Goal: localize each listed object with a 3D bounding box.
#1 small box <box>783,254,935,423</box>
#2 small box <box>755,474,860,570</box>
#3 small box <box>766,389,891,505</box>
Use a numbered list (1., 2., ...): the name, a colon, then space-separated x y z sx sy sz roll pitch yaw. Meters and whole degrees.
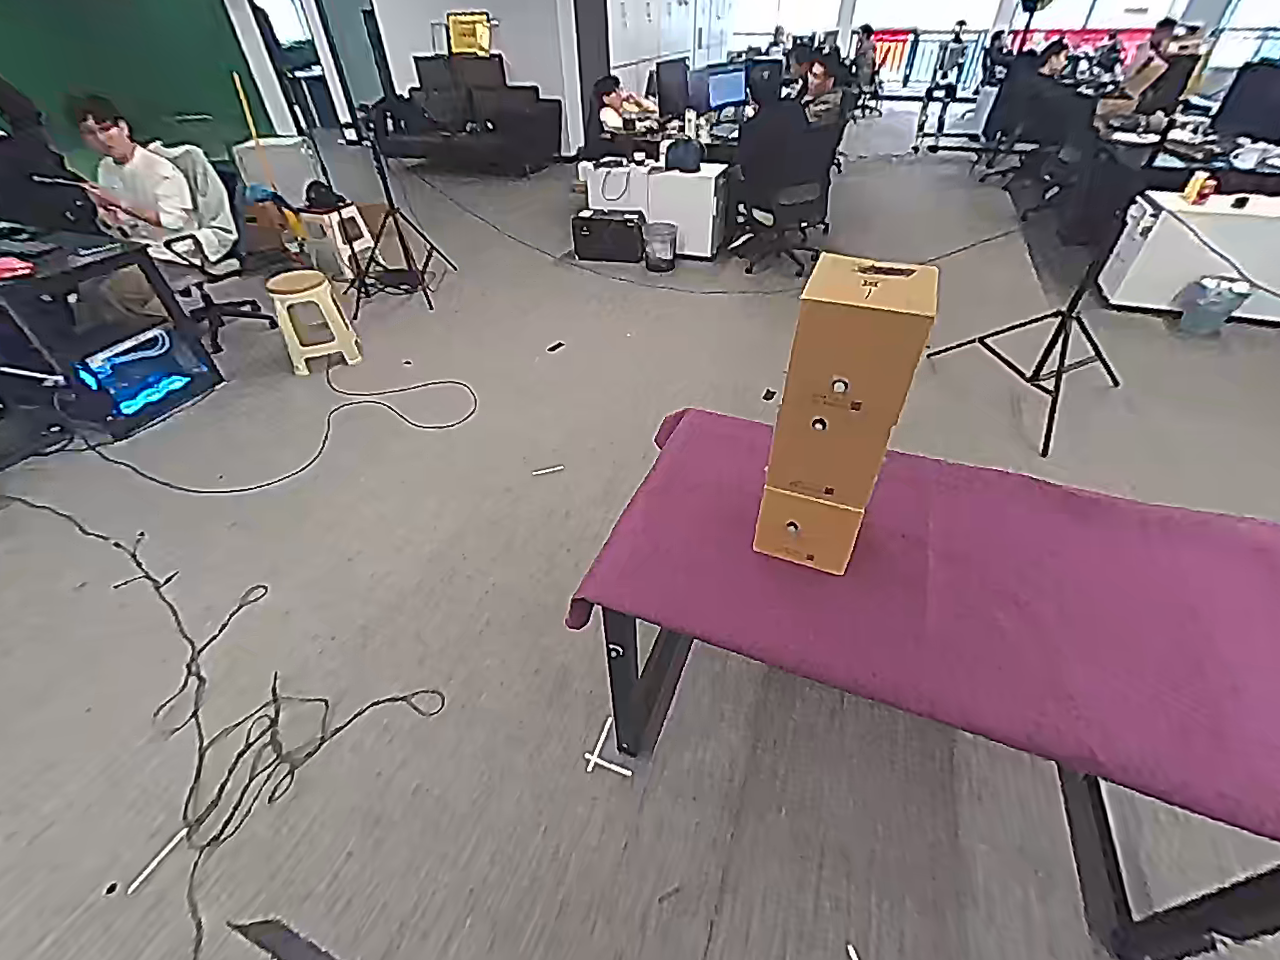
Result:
1. small box: 0.316 -0.211 0.795 0.168 0.176 0.179 15 44 18
2. small box: 0.318 0.039 1.008 0.168 0.176 0.179 15 43 18
3. small box: 0.316 -0.088 0.905 0.168 0.176 0.179 14 42 18
